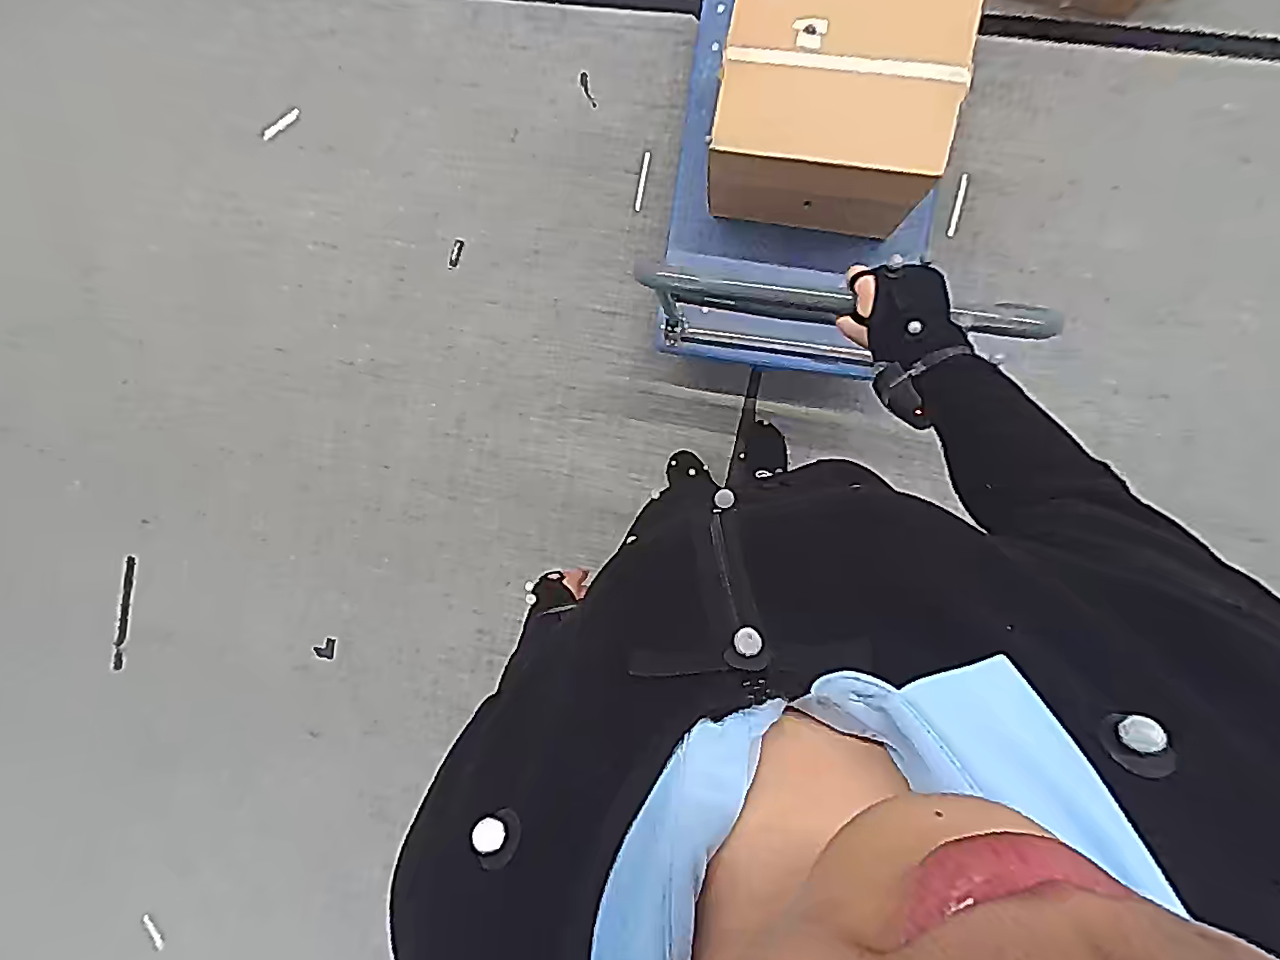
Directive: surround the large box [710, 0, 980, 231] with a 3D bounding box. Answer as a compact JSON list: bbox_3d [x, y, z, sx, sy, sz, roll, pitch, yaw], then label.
[{"bbox_3d":[0.364,-0.712,1.056,0.408,0.320,0.320,11,95,8],"label":"large box"}]
